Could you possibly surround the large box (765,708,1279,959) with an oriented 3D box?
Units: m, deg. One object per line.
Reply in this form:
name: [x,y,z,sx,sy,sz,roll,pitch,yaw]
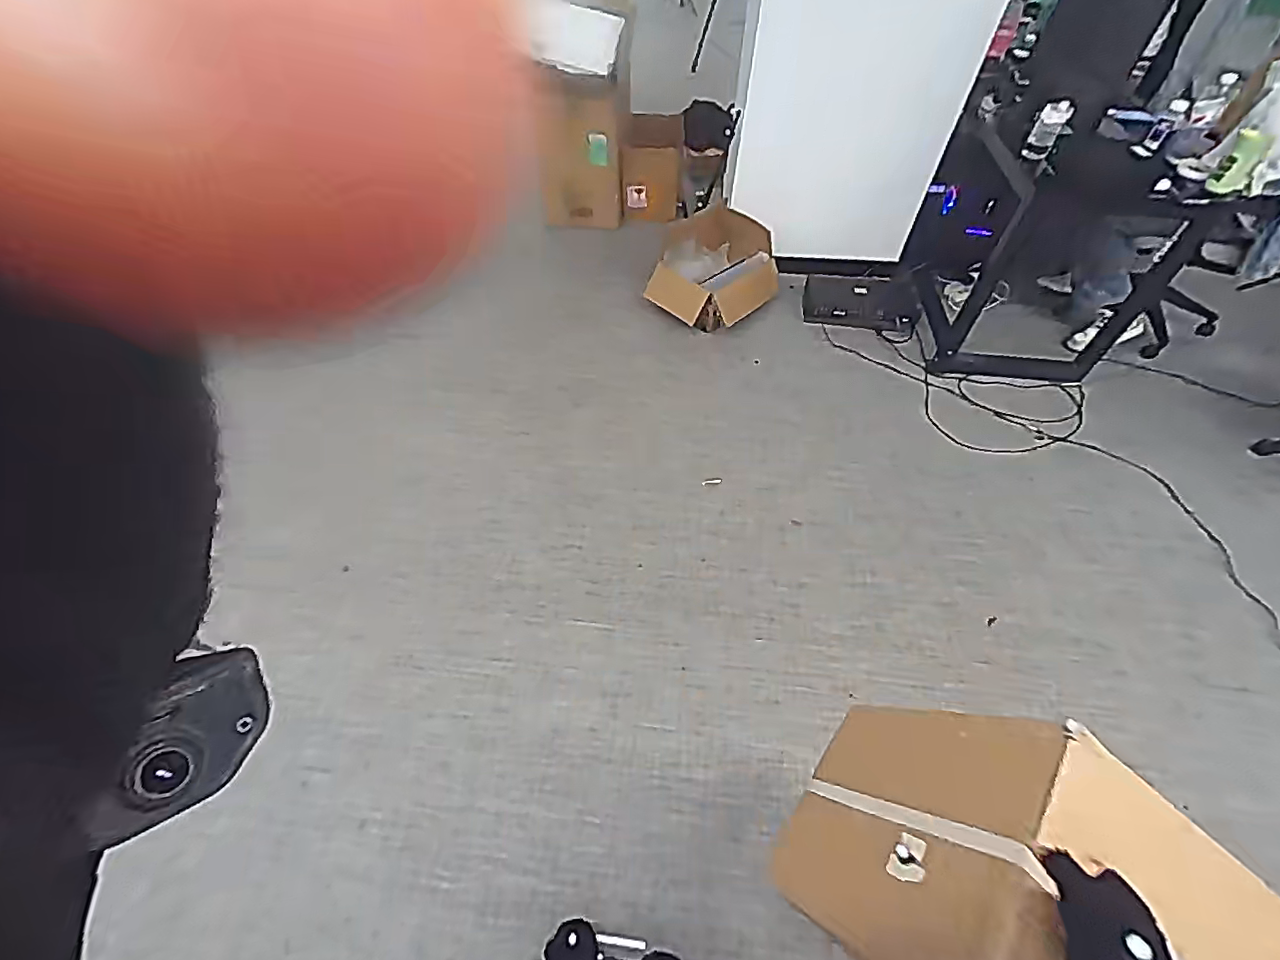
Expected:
large box: [0.444,0.535,0.694,0.320,0.408,0.320,42,66,1]
